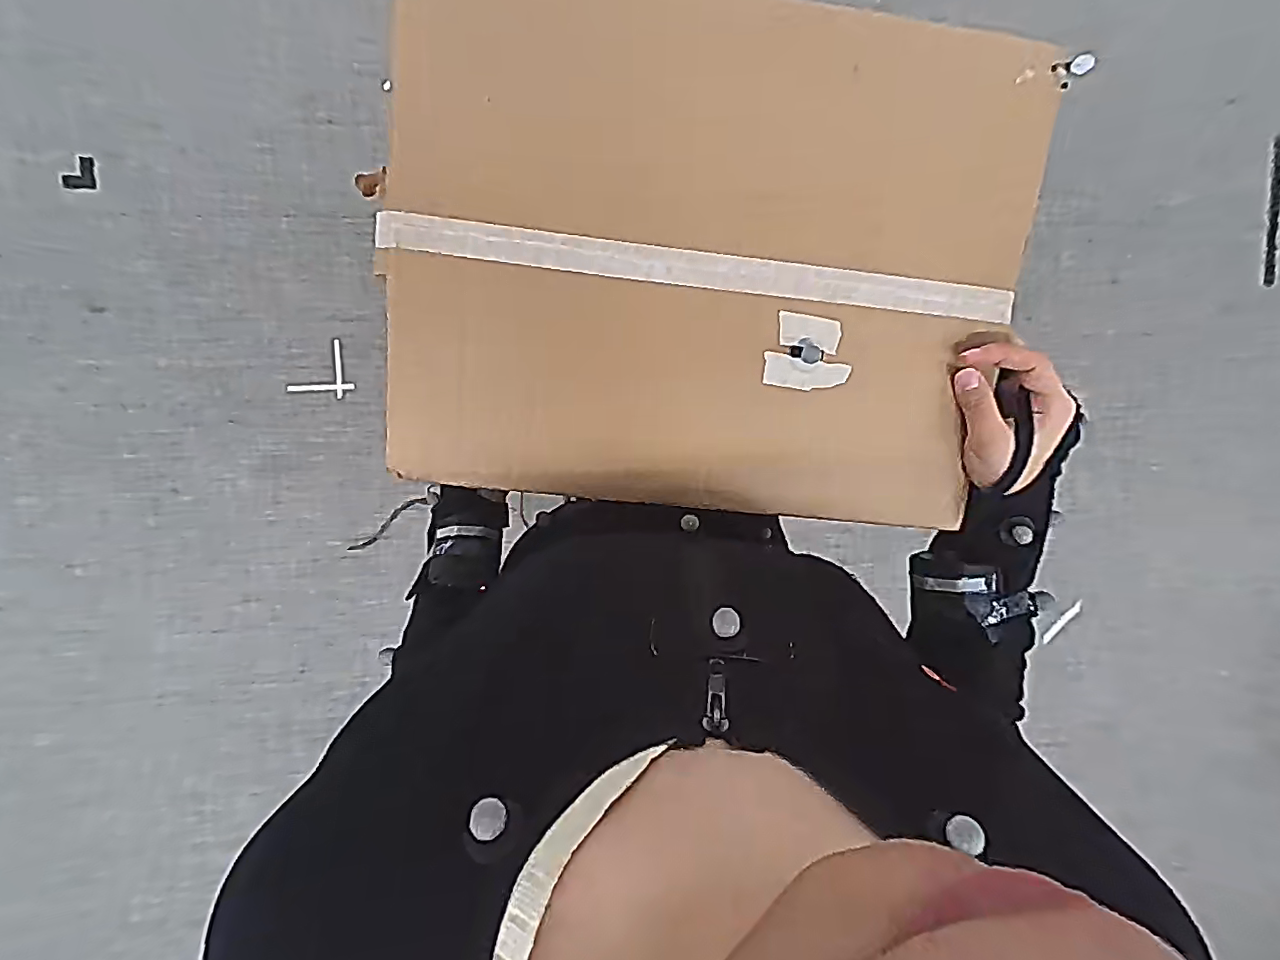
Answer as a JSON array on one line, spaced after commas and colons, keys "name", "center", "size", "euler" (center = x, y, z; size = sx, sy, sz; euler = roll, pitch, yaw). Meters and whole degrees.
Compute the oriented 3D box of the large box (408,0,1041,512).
[{"name": "large box", "center": [0.037, -0.166, 0.502], "size": [0.408, 0.320, 0.320], "euler": [4, 102, -6]}]
